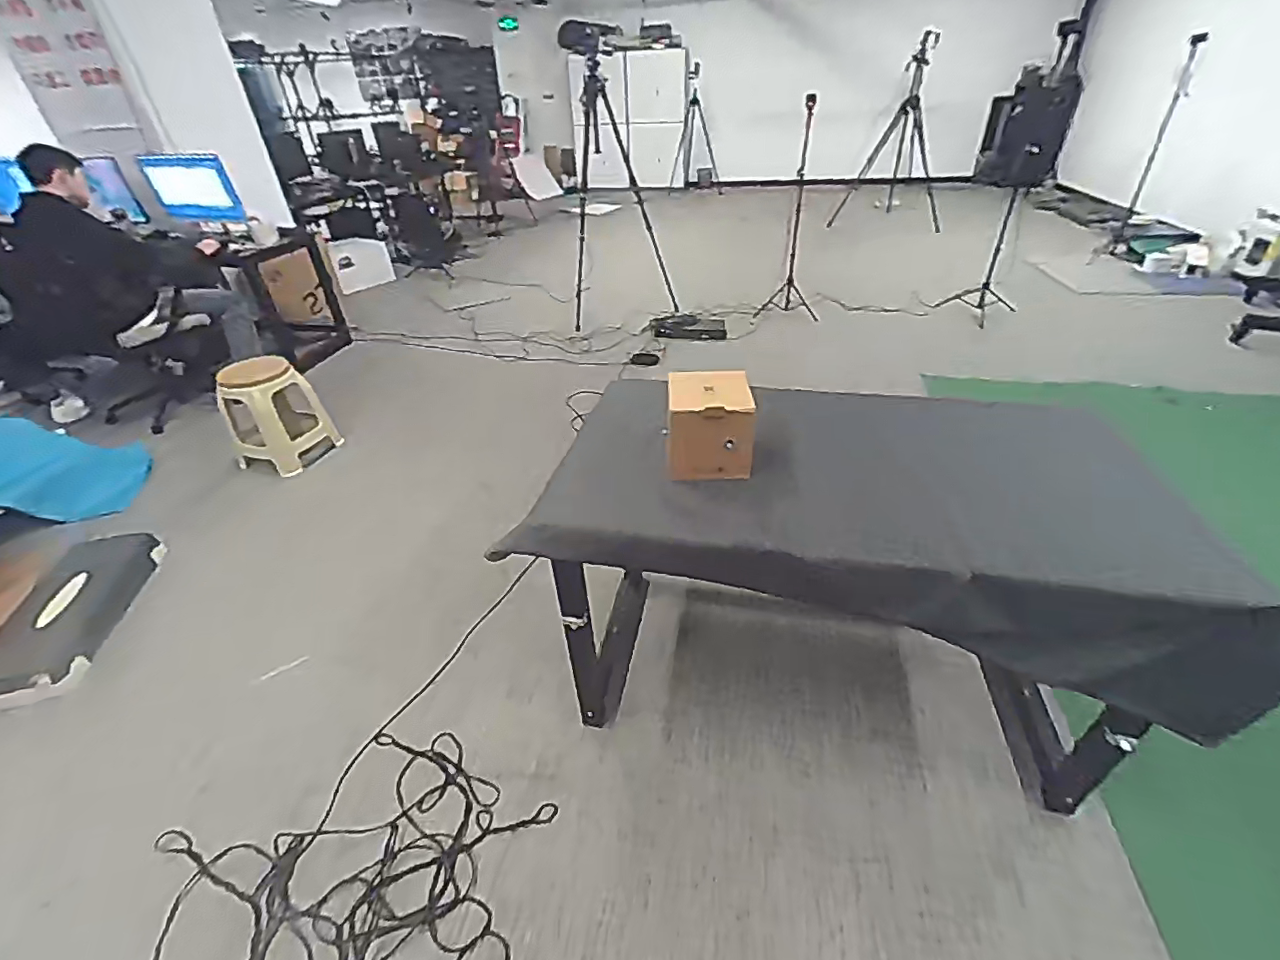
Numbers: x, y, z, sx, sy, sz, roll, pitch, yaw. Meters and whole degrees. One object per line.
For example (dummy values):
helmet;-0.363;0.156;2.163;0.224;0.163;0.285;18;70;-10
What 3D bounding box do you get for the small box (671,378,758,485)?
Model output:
small box;0.150;-0.101;1.144;0.168;0.176;0.179;0;34;1
